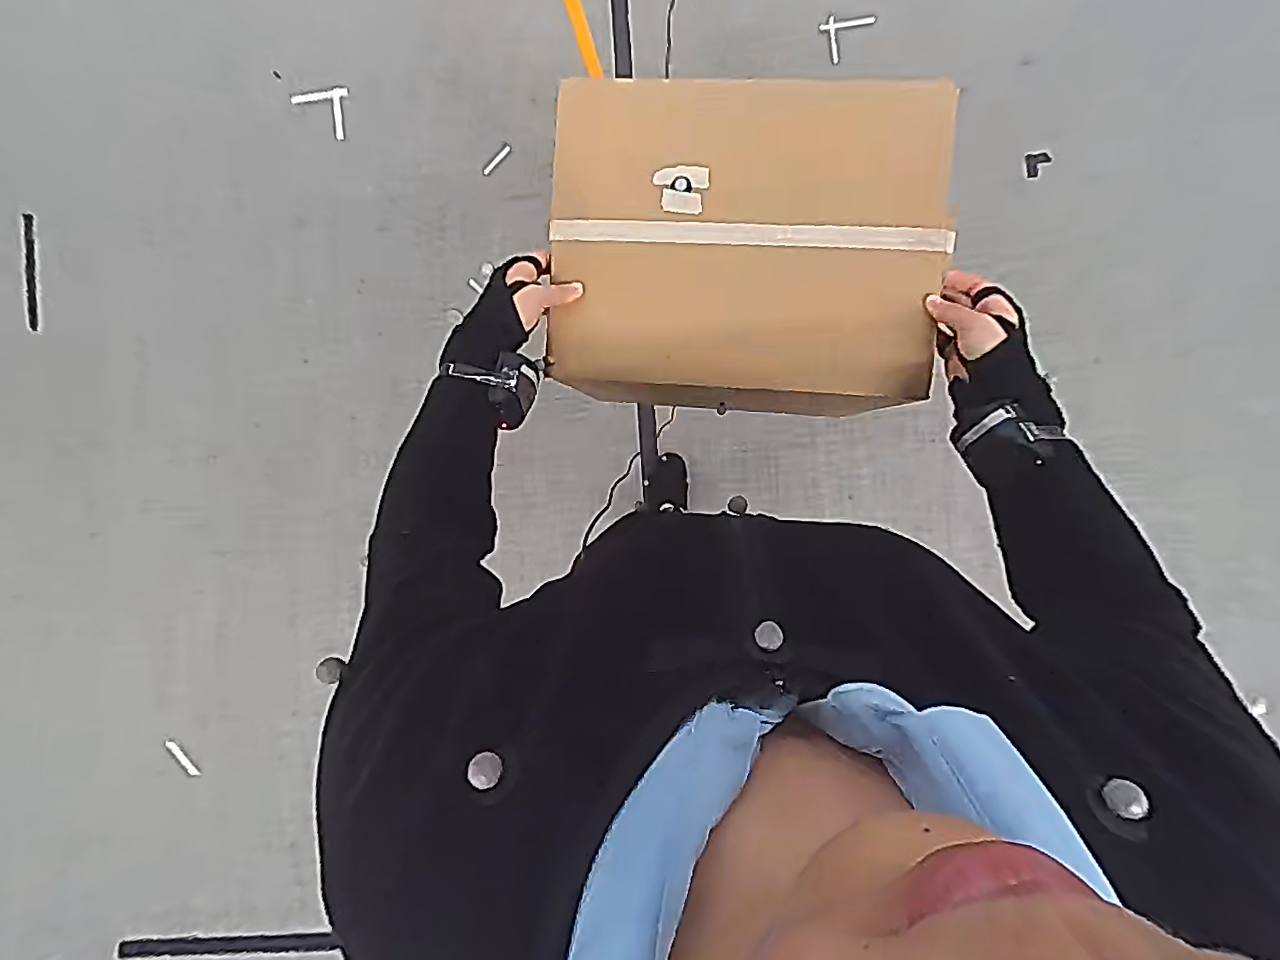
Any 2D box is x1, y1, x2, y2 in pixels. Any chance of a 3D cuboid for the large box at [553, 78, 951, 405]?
[{"bbox_3d":[0.126,-0.269,0.717,0.408,0.320,0.320,4,92,6],"label":"large box"}]
